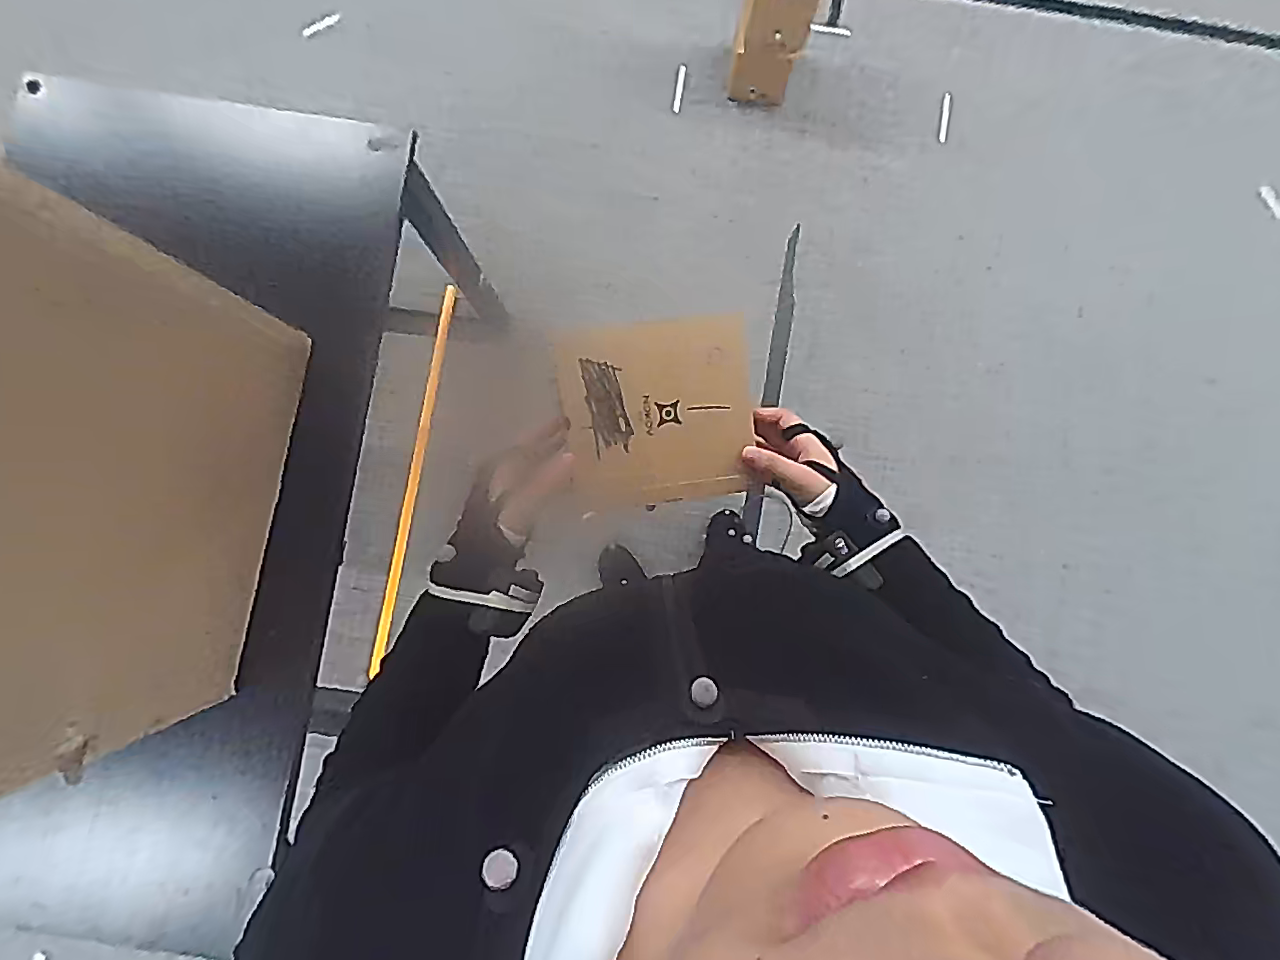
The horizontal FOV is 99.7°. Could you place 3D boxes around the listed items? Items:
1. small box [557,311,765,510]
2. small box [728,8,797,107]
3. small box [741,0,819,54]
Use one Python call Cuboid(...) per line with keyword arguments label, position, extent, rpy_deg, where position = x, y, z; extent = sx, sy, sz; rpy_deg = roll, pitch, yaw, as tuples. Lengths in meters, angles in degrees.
Cuboid(label="small box", position=(0.014, -0.070, 0.560), extent=(0.179, 0.176, 0.168), rpy_deg=(-7, 98, -6))
Cuboid(label="small box", position=(0.348, -1.215, 1.541), extent=(0.168, 0.176, 0.179), rpy_deg=(5, 86, 1))
Cuboid(label="small box", position=(0.353, -1.241, 1.378), extent=(0.168, 0.176, 0.179), rpy_deg=(1, 85, 1))
